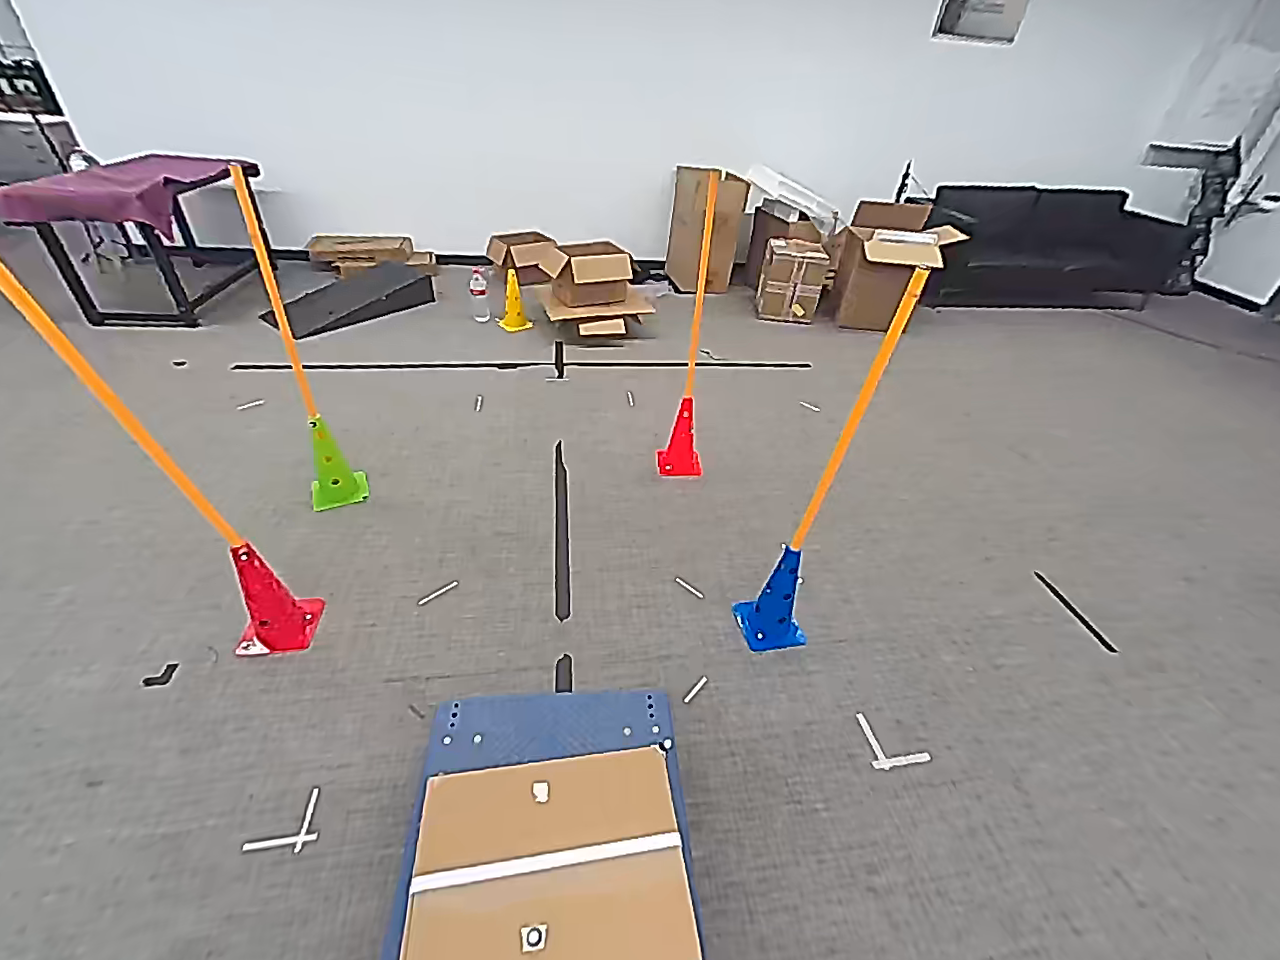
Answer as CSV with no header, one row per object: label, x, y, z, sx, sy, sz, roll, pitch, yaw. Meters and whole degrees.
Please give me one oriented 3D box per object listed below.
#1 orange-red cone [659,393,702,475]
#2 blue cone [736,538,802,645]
orange-red cone,0.198,-0.219,2.394,0.199,0.360,0.198,3,38,-4
blue cone,0.445,0.341,1.719,0.193,0.380,0.192,-4,37,-12
